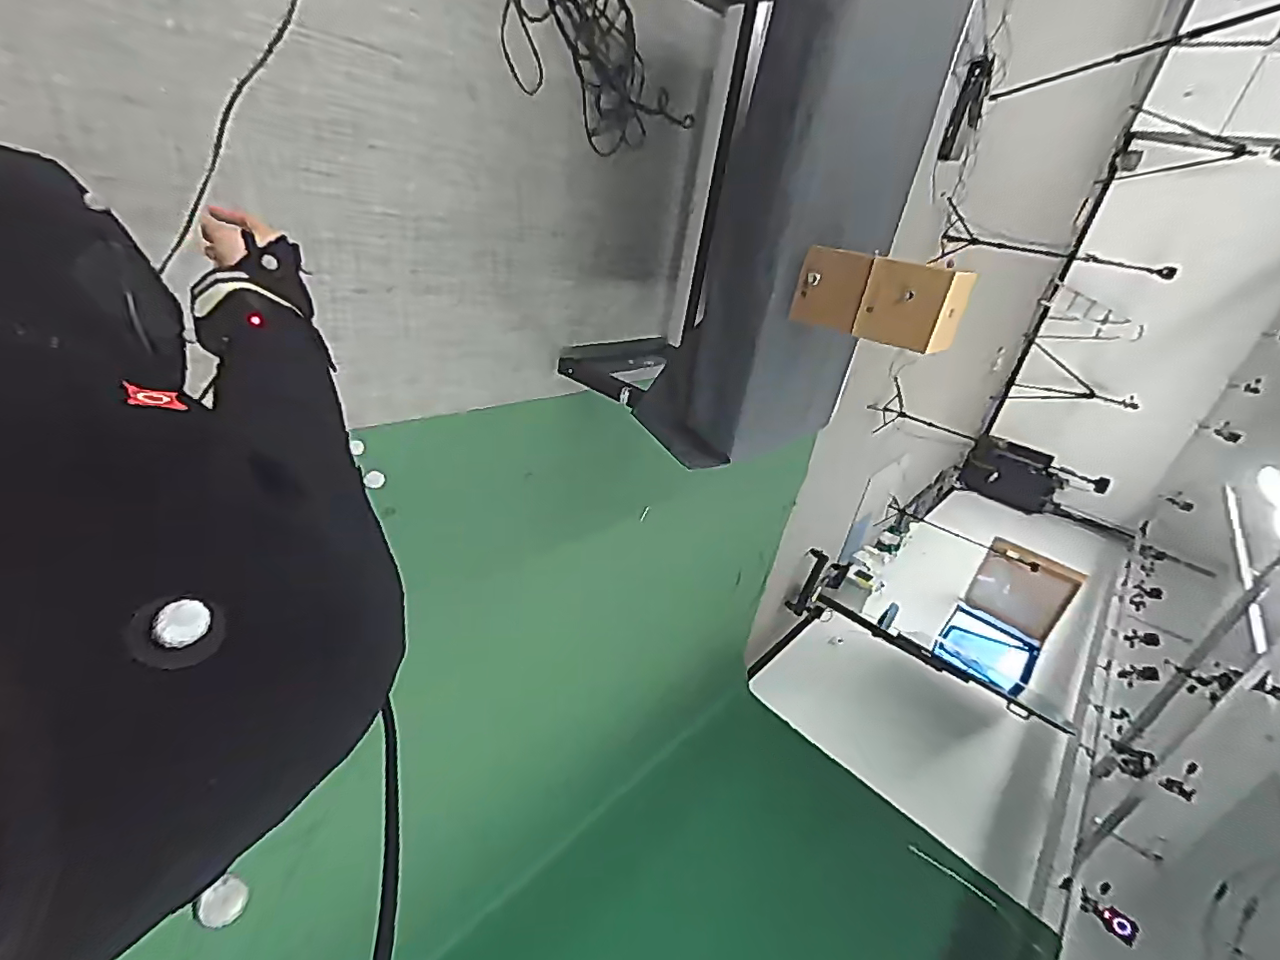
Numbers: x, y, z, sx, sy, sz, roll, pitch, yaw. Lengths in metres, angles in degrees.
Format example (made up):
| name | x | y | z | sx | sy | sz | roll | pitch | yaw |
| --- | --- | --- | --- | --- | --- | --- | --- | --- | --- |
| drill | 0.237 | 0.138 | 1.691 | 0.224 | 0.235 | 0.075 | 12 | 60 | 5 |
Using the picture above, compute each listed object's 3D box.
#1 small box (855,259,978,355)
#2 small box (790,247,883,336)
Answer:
| name | x | y | z | sx | sy | sz | roll | pitch | yaw |
| --- | --- | --- | --- | --- | --- | --- | --- | --- | --- |
| small box | 0.596 | -0.380 | 1.176 | 0.179 | 0.176 | 0.168 | -21 | 130 | -44 |
| small box | 0.484 | -0.446 | 1.274 | 0.179 | 0.176 | 0.168 | -18 | 128 | -44 |
